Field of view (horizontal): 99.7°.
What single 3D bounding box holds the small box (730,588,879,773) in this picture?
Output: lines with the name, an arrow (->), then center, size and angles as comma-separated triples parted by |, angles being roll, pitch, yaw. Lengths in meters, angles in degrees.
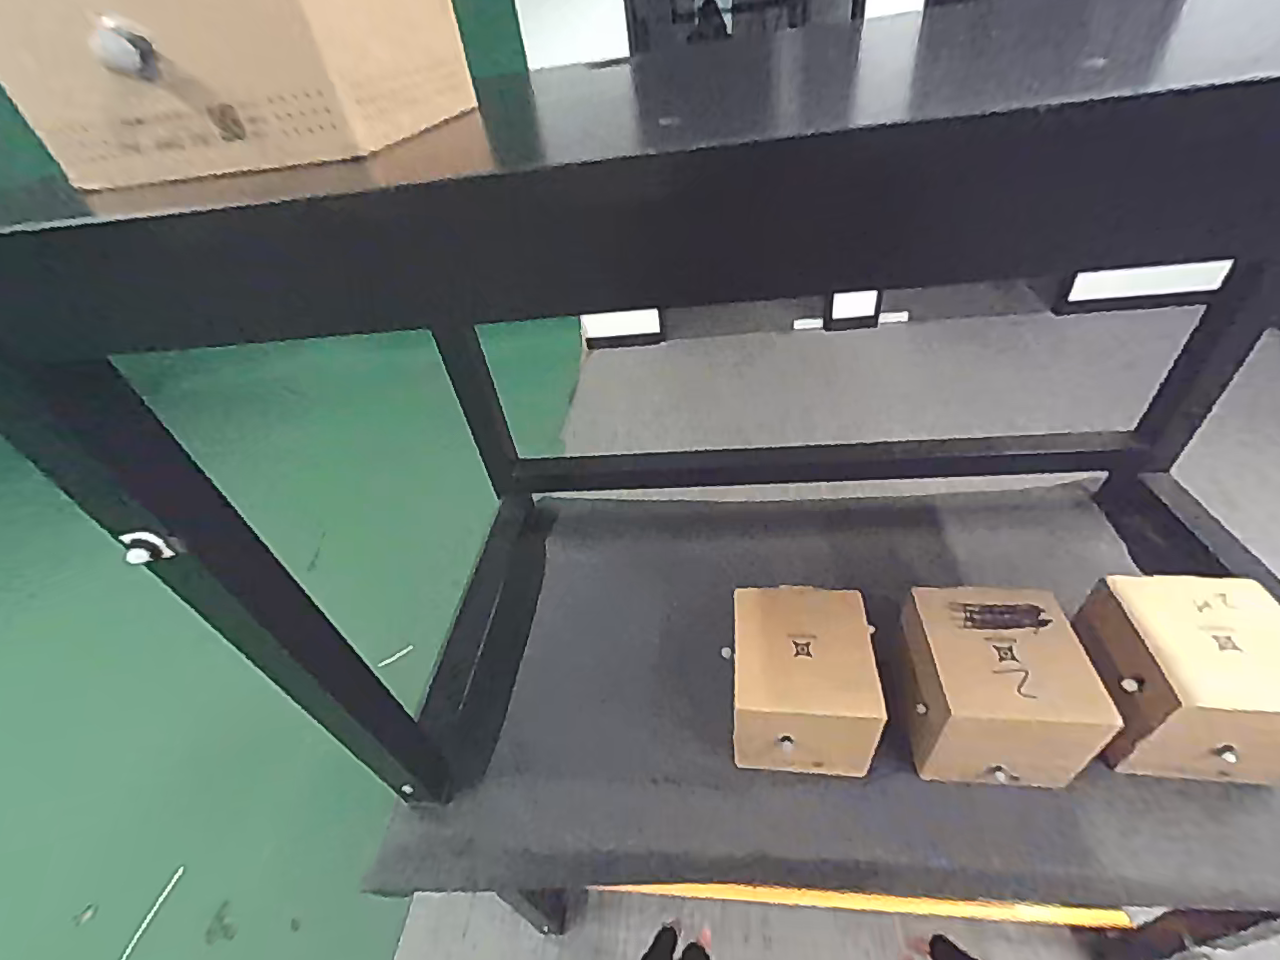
small box -> 0.208, 0.266, 0.719 | 0.168, 0.176, 0.179 | -1, 40, 11

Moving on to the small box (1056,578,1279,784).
small box -> 0.655, 0.242, 0.656 | 0.168, 0.176, 0.179 | 0, 40, 11

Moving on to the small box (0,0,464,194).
small box -> -0.214, -0.268, 0.290 | 0.168, 0.176, 0.179 | -1, 41, 9
